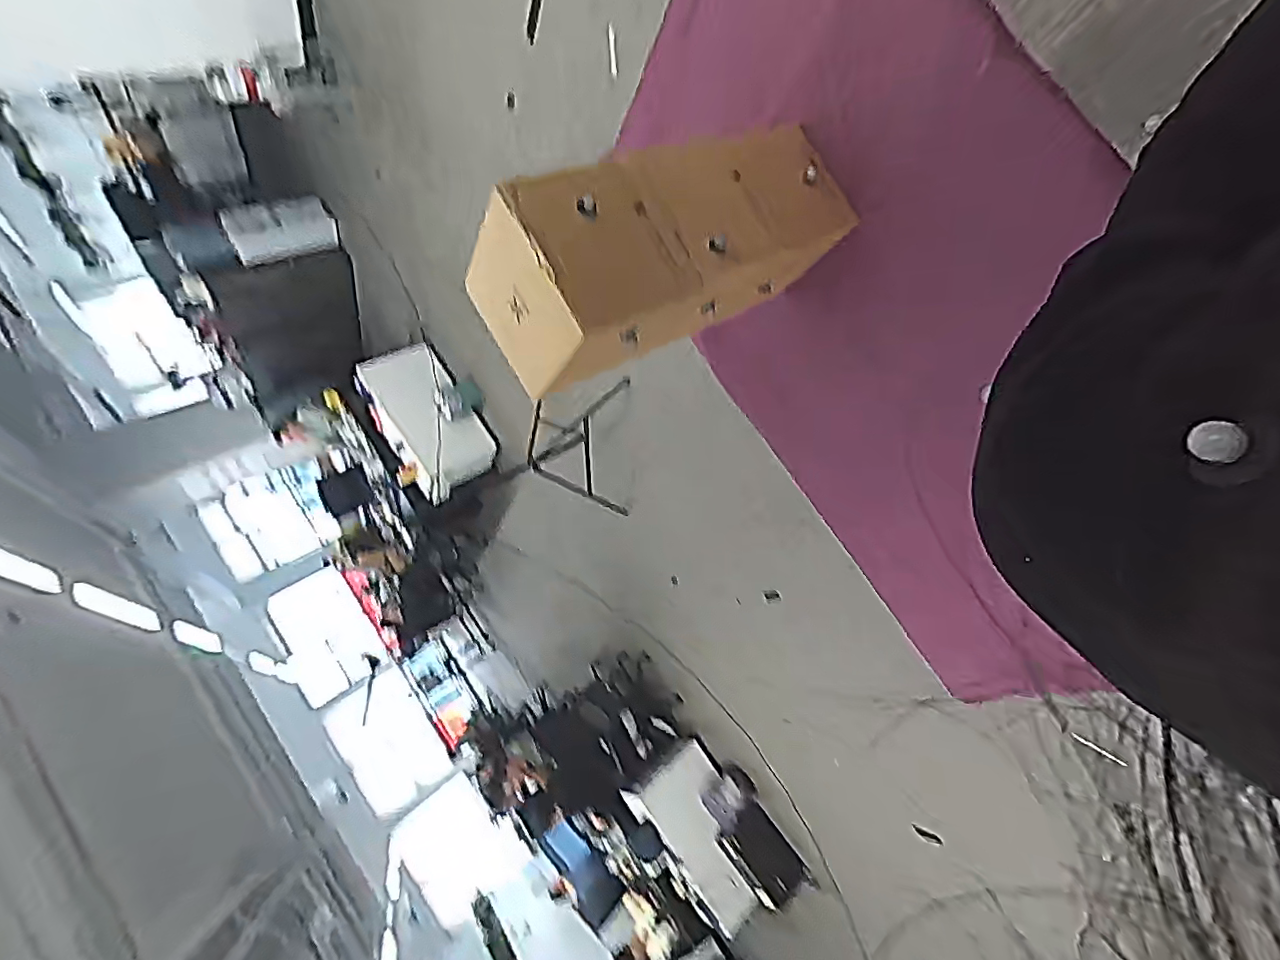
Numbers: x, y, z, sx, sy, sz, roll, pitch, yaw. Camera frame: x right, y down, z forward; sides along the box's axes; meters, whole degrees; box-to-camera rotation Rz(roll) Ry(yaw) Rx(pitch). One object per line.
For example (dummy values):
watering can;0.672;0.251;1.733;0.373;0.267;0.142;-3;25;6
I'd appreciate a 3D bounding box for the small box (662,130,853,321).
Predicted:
small box;0.167;-0.365;0.785;0.168;0.176;0.179;57;149;0

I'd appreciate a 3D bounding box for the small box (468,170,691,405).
small box;-0.067;-0.215;0.613;0.168;0.176;0.179;59;151;0
